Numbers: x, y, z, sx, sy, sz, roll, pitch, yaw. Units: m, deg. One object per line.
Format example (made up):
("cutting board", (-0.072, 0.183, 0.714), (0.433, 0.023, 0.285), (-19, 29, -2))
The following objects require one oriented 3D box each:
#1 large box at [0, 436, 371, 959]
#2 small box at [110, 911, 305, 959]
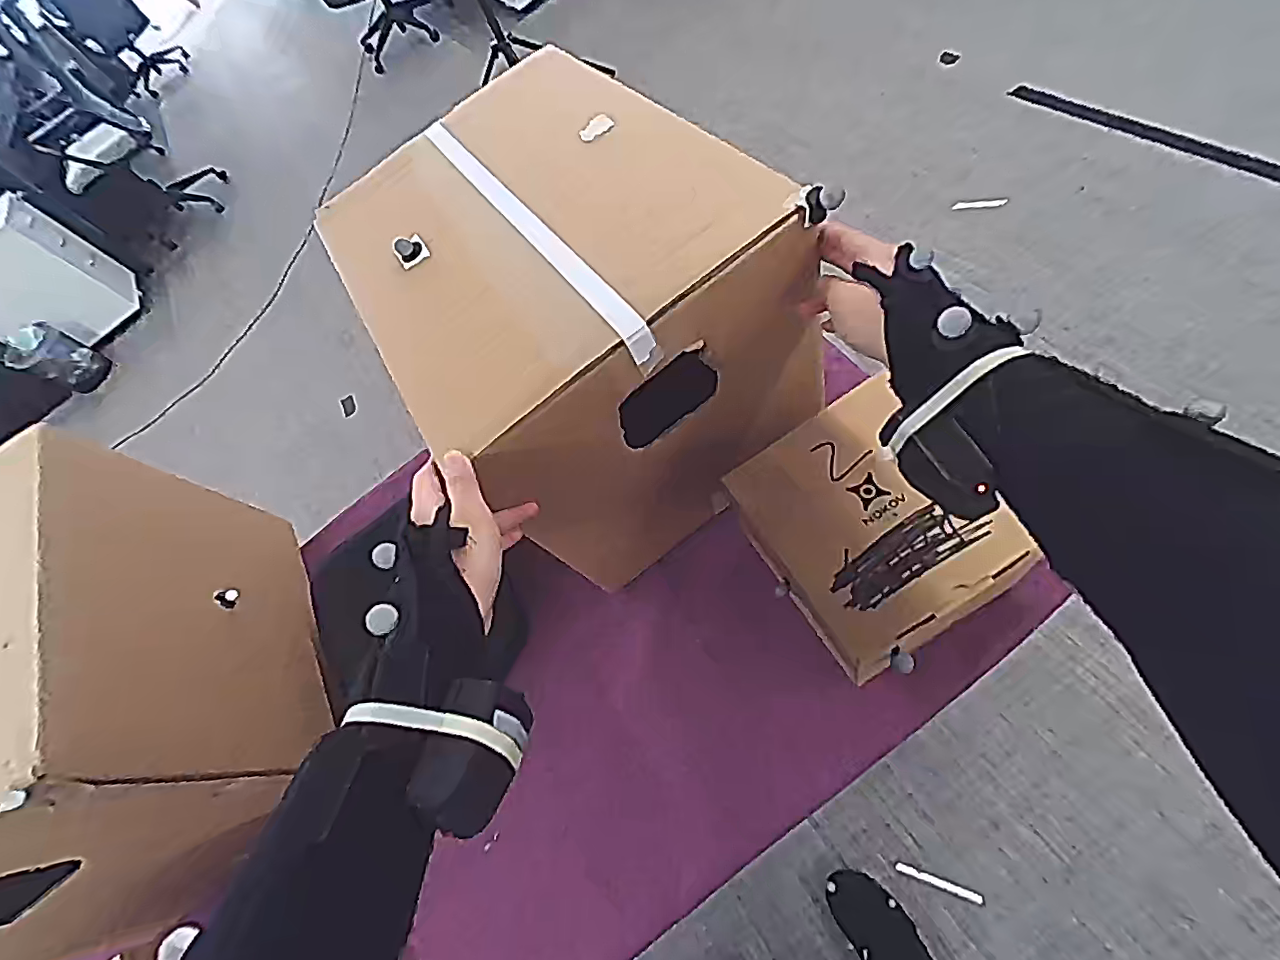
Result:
("large box", (-0.582, 0.233, 0.599), (0.320, 0.320, 0.408), (-40, 61, -1))
("small box", (-0.424, 0.532, 0.474), (0.179, 0.176, 0.168), (-40, 57, -3))
